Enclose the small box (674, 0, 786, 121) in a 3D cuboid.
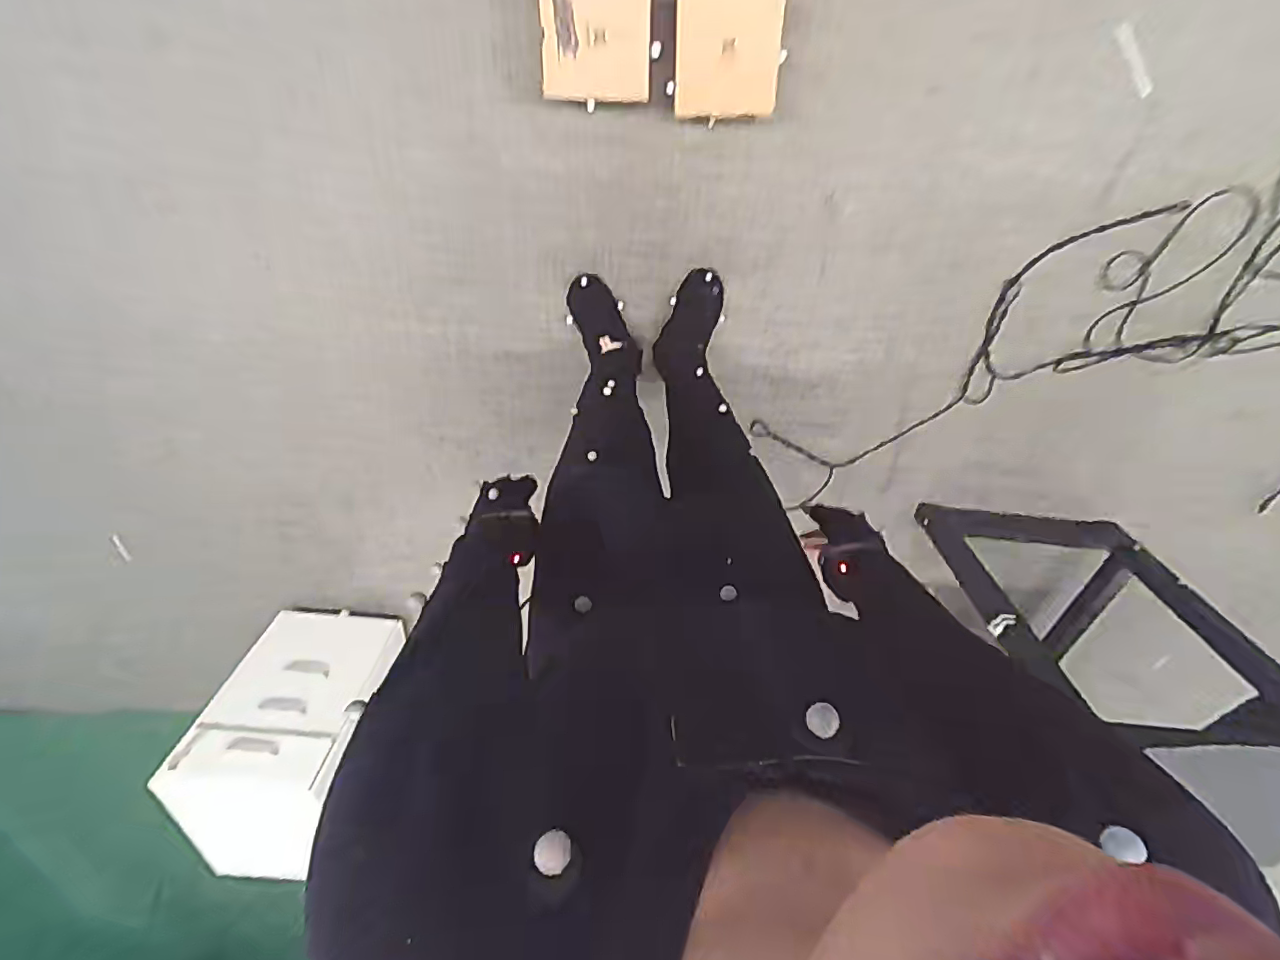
[{"bbox_3d":[0.144,-0.723,0.926,0.168,0.176,0.179,0,124,2],"label":"small box"}]
